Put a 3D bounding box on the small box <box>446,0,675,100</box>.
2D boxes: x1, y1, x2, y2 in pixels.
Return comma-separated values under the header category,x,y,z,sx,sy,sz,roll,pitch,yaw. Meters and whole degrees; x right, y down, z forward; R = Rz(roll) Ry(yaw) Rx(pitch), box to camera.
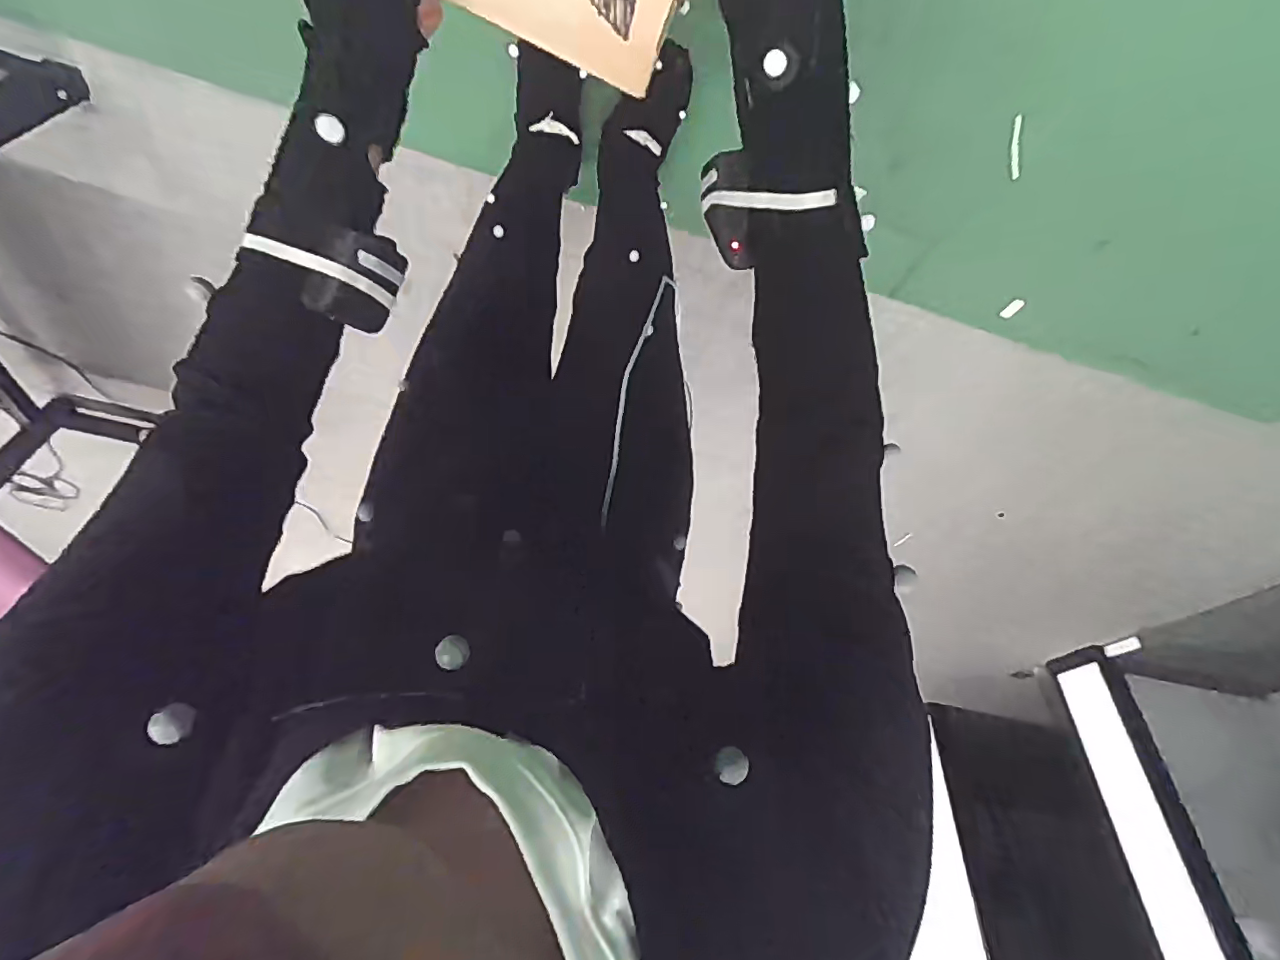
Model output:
category,x,y,z,sx,sy,sz,roll,pitch,yaw
small box,-0.041,-0.407,0.359,0.179,0.176,0.168,20,141,-14
